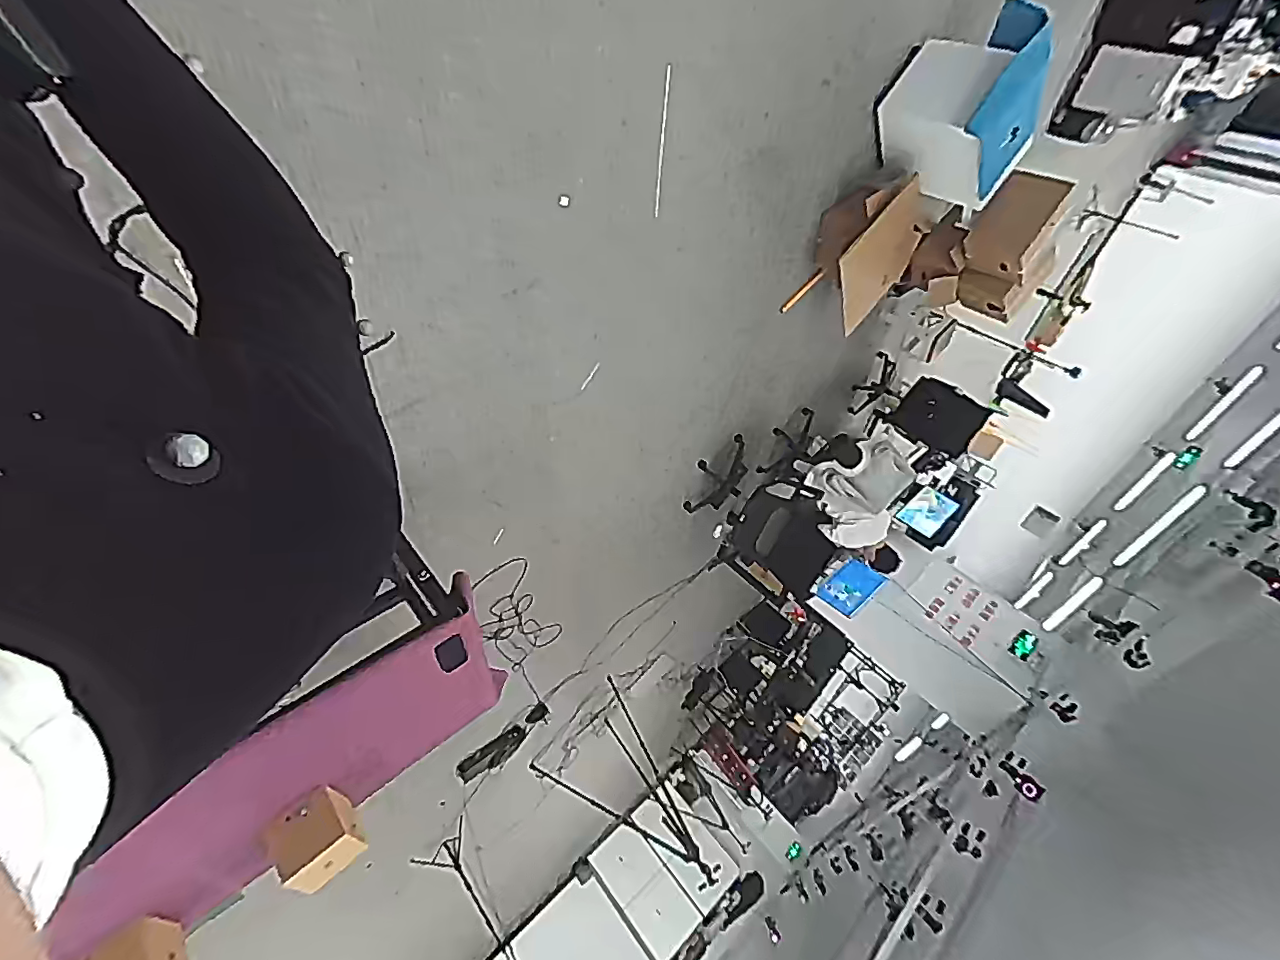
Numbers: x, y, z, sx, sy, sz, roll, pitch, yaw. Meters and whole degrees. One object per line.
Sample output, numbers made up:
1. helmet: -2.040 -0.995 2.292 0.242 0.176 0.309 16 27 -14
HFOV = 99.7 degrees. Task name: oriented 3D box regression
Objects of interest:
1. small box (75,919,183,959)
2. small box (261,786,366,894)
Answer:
1. small box: -1.203 1.172 1.260 0.168 0.176 0.179 -33 146 -30
2. small box: -0.887 0.976 1.474 0.168 0.176 0.179 -34 146 -29
